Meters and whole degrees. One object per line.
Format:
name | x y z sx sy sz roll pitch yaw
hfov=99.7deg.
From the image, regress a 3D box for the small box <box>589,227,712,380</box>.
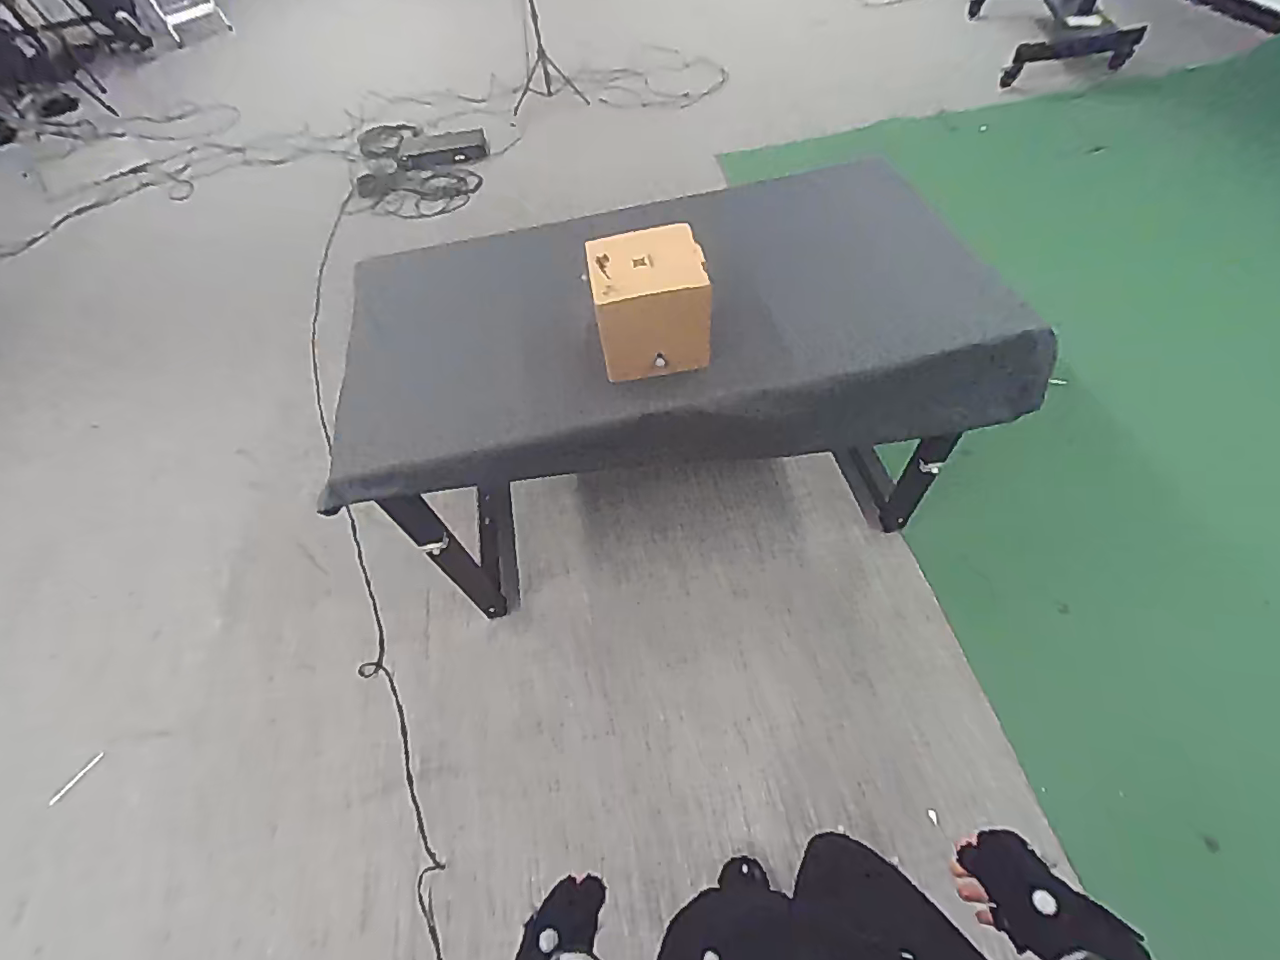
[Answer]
small box | 0.017 -0.292 0.910 0.179 0.176 0.168 -10 55 -1
